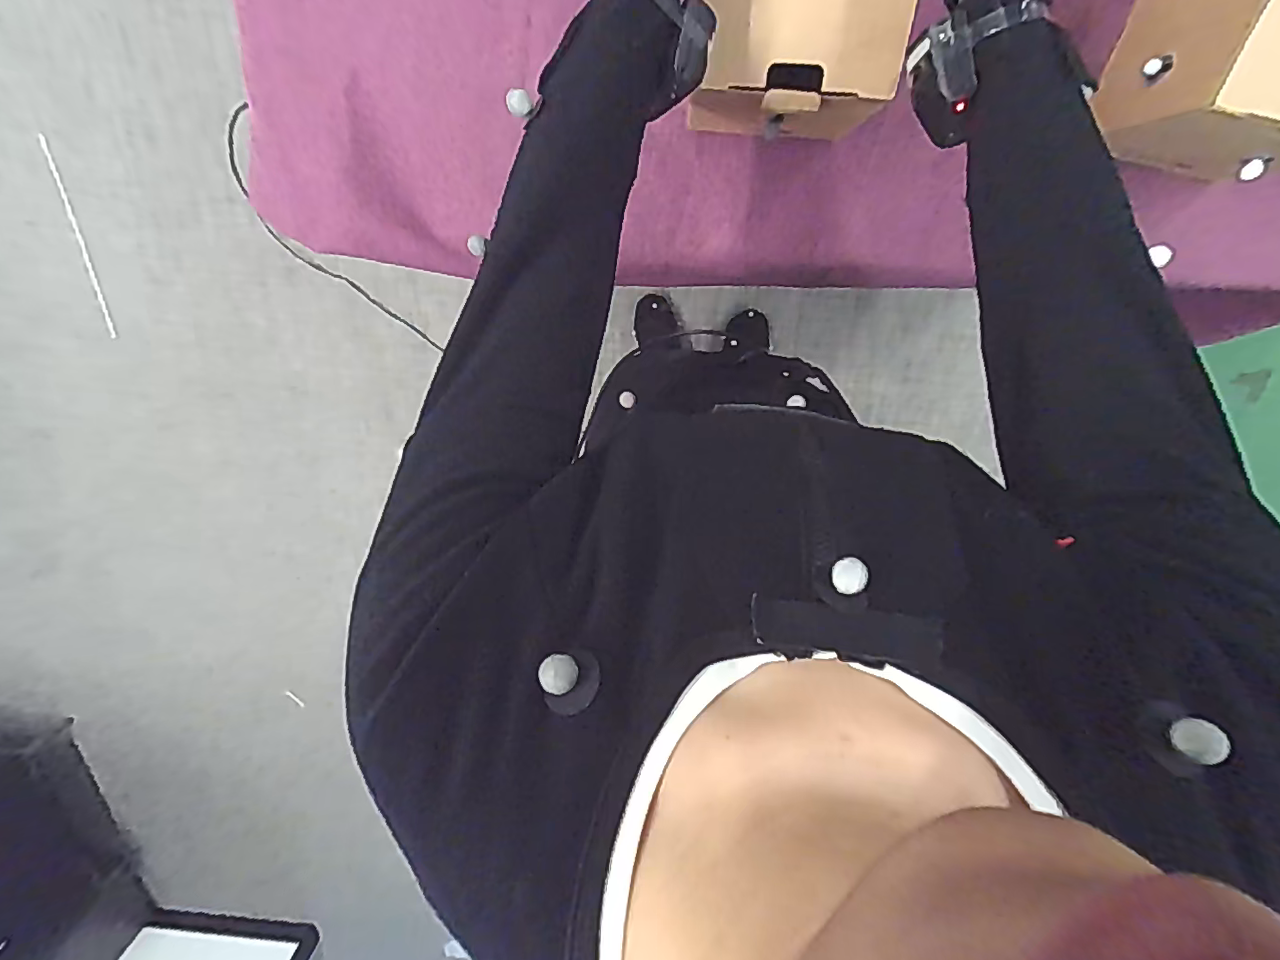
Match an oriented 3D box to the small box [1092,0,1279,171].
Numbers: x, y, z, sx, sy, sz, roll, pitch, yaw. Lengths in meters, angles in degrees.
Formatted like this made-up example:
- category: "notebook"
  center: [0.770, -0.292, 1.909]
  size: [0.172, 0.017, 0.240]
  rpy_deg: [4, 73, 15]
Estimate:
- category: "small box"
  center: [0.537, -0.376, 0.448]
  size: [0.168, 0.176, 0.179]
  rpy_deg: [13, 113, -1]
